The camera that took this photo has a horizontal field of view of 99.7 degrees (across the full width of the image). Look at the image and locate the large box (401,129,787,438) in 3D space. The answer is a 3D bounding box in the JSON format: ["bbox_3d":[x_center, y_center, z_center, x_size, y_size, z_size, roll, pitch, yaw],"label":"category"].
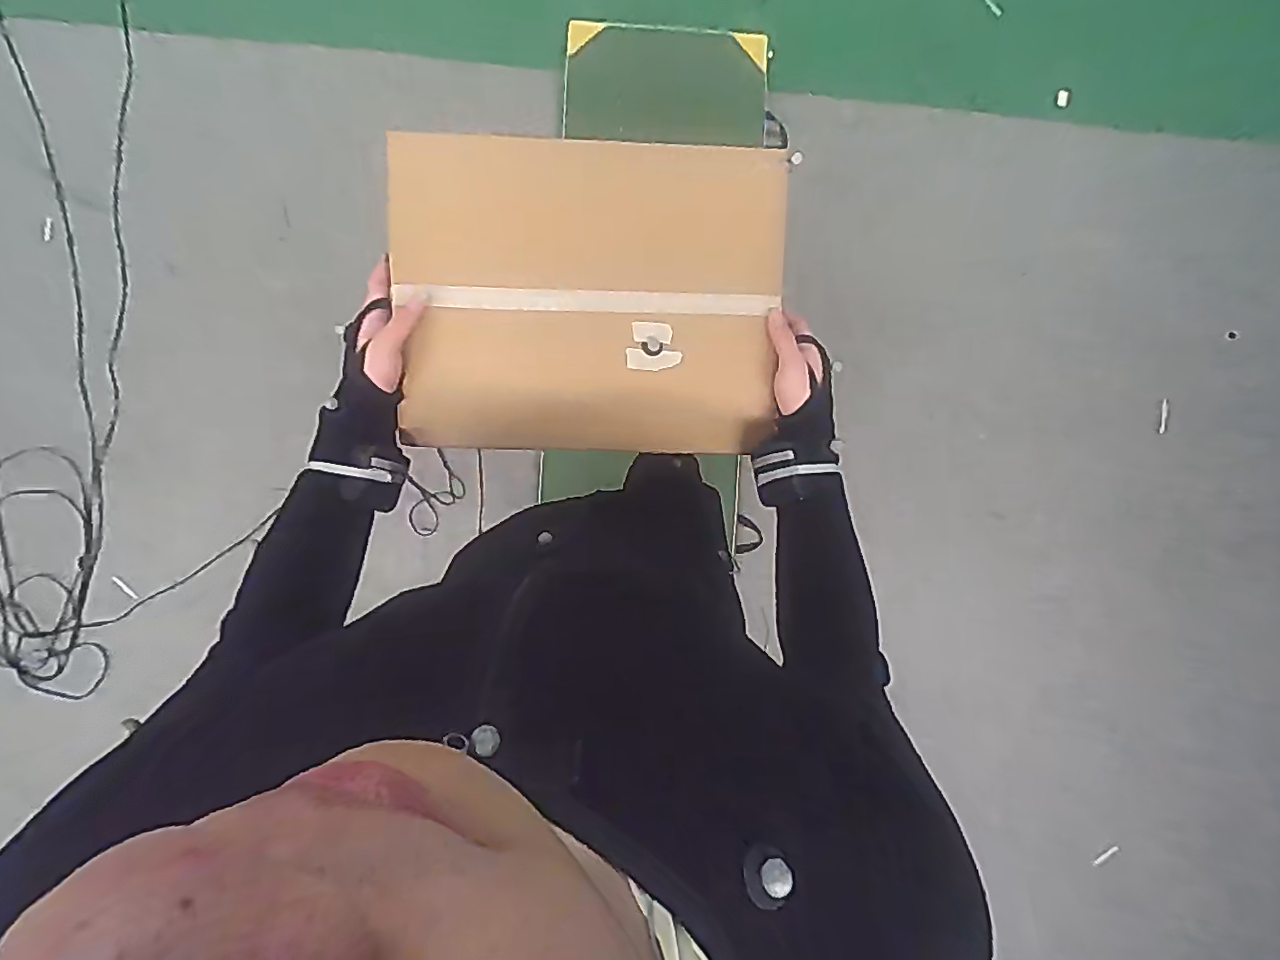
[{"bbox_3d":[-0.054,-0.220,0.721,0.408,0.320,0.320,1,98,-3],"label":"large box"}]
